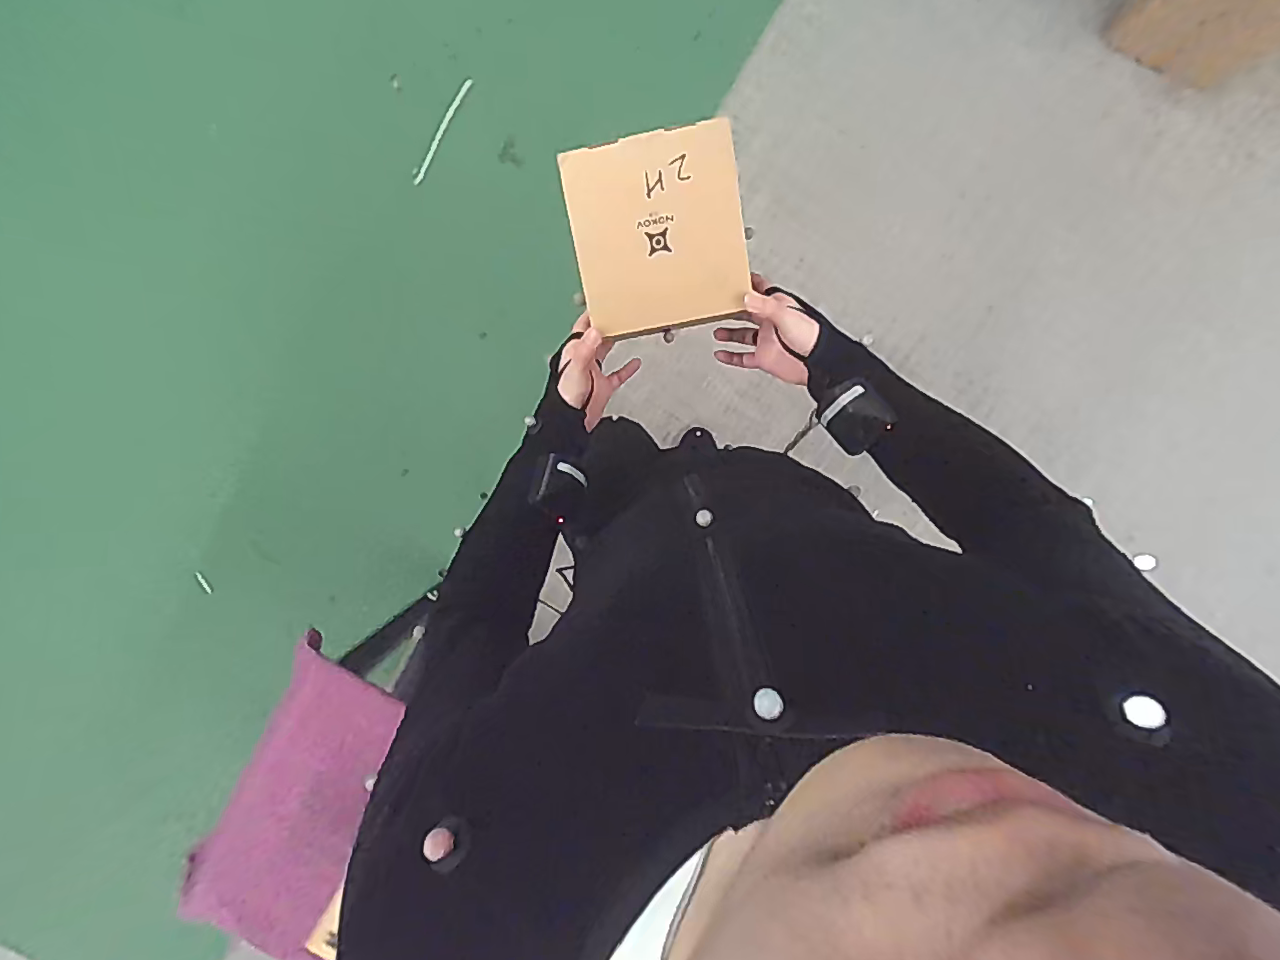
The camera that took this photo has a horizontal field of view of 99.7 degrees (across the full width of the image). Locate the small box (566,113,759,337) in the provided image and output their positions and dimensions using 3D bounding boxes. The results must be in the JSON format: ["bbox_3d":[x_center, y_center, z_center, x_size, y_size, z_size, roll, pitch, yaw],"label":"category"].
[{"bbox_3d":[0.027,-0.255,0.586,0.168,0.176,0.179,-8,103,4],"label":"small box"}]
